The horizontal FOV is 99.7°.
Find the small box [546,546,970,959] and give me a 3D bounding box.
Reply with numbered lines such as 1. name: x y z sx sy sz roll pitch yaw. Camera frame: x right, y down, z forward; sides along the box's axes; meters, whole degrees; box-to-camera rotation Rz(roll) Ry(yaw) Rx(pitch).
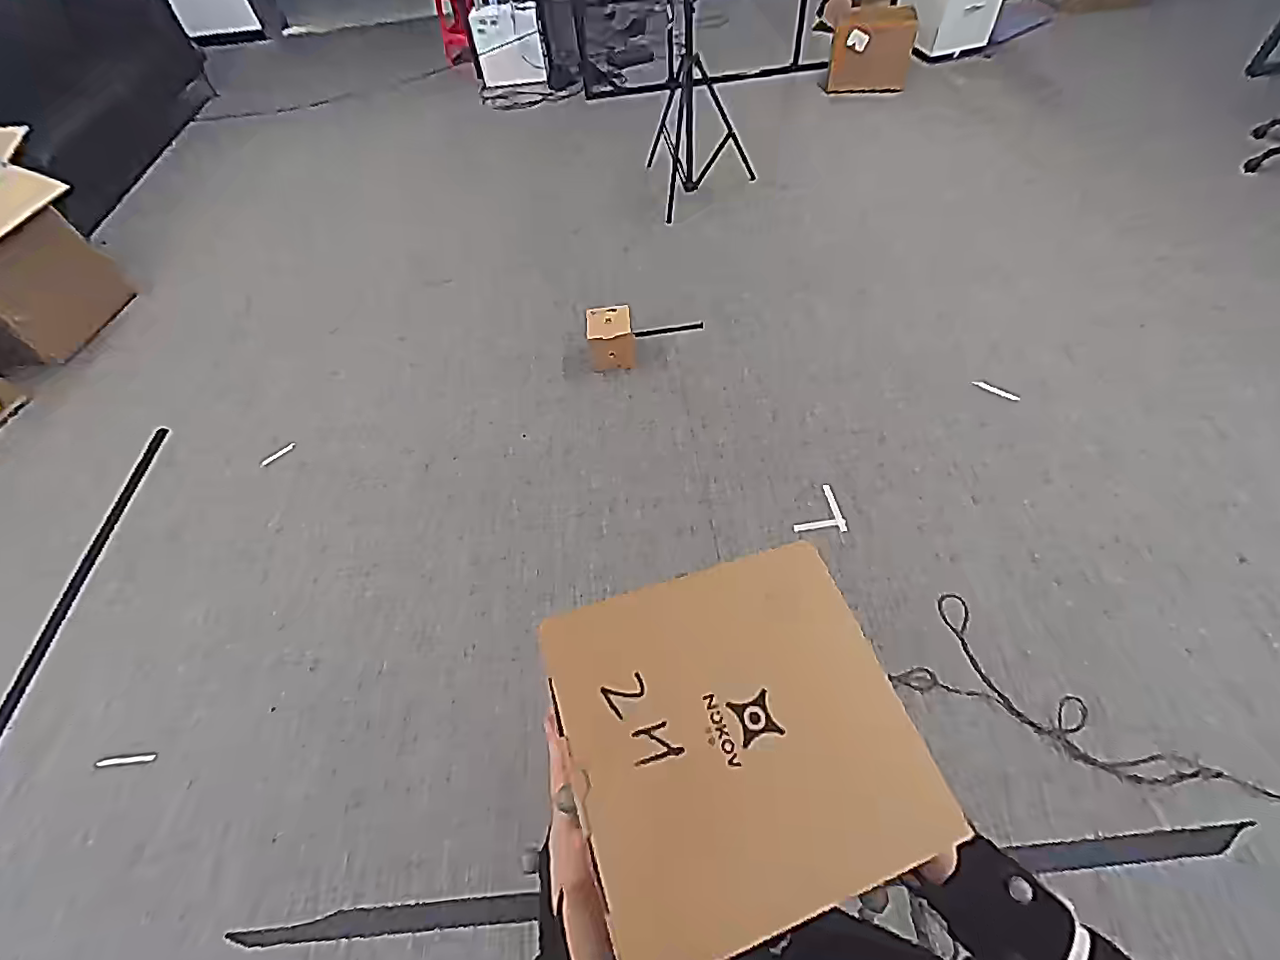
1. small box: 0.048 0.168 0.344 0.179 0.176 0.168 -14 59 -12

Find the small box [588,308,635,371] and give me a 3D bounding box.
1. small box: -0.110 -0.541 2.104 0.168 0.176 0.179 -5 55 2
